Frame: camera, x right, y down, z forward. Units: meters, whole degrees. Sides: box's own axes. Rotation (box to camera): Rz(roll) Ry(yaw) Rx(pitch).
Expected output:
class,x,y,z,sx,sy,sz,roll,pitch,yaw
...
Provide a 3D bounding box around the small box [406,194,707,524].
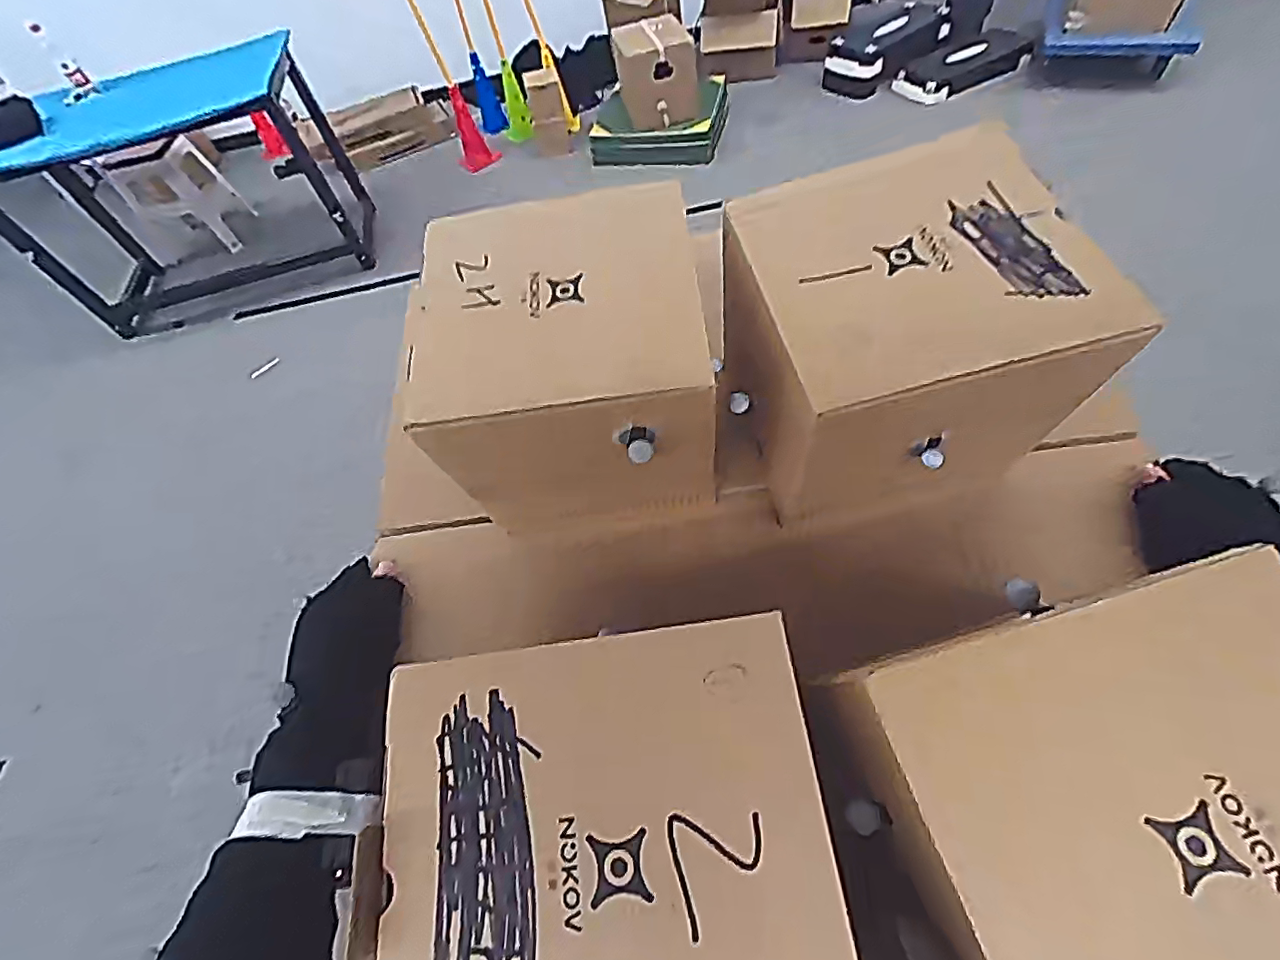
class,x,y,z,sx,sy,sz,roll,pitch,yaw
small box,-0.044,-0.077,0.409,0.179,0.176,0.168,-7,63,6
